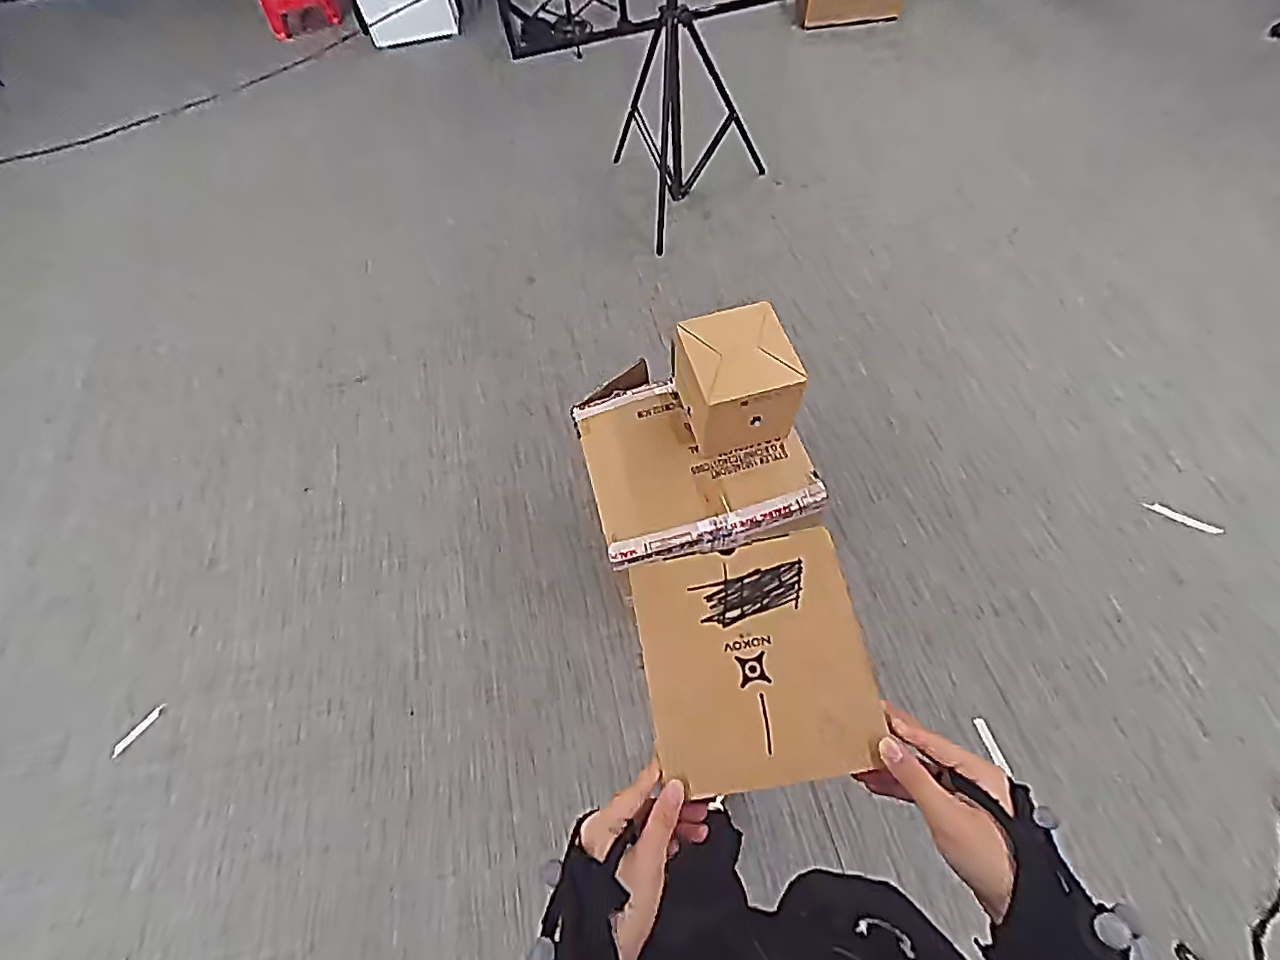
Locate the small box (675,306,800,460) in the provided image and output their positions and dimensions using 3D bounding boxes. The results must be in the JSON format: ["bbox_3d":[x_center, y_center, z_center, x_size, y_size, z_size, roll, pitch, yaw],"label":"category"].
[{"bbox_3d":[0.162,-0.165,0.935,0.168,0.176,0.179,-15,63,-5],"label":"small box"}]

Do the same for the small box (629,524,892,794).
[{"bbox_3d":[0.093,0.156,0.484,0.168,0.176,0.179,-12,70,5],"label":"small box"}]
